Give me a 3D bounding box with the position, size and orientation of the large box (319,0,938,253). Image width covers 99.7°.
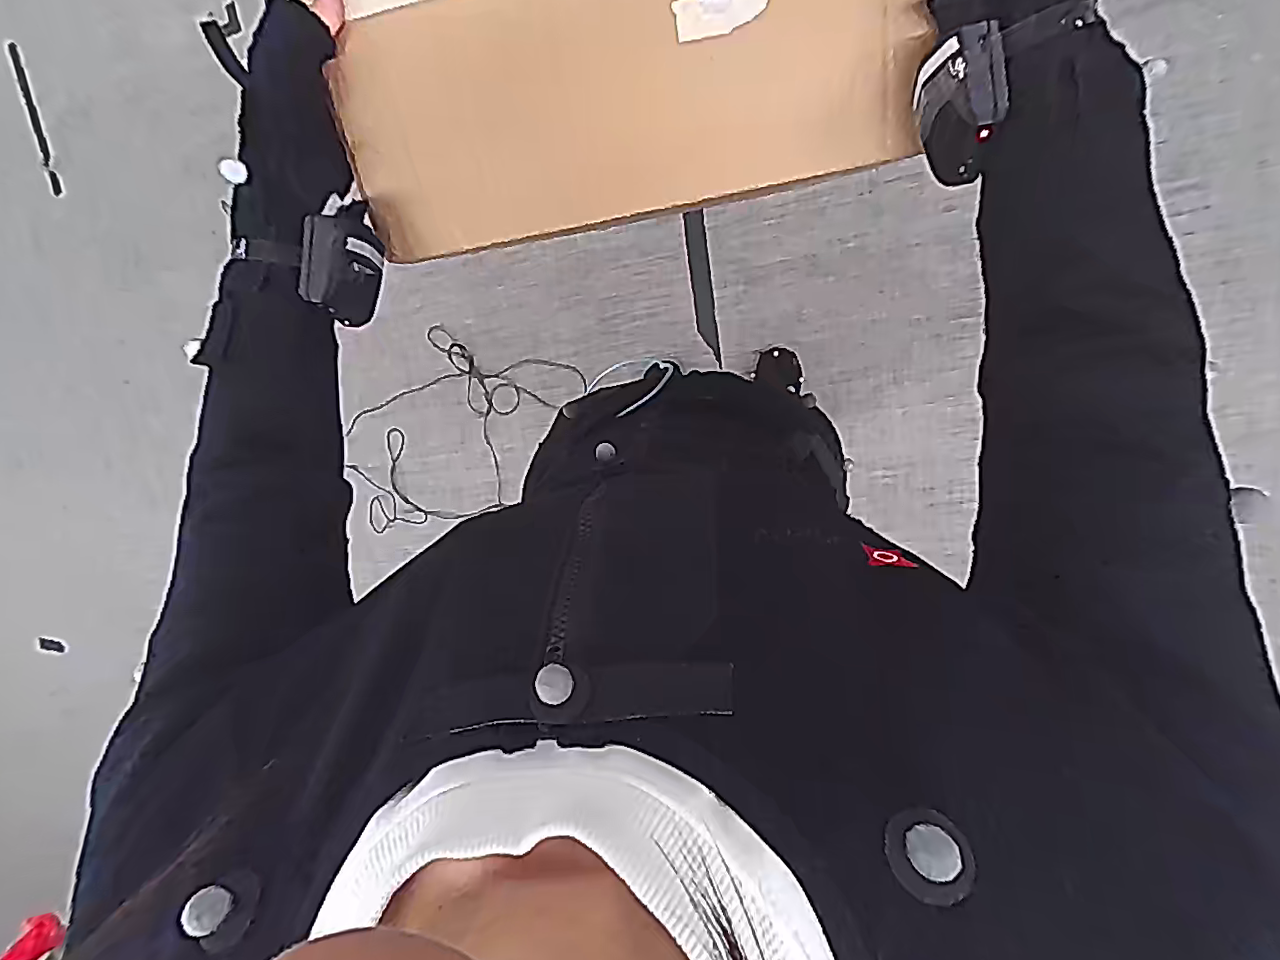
[{"bbox_3d":[-0.013,-0.407,0.470,0.408,0.320,0.320,-9,115,8],"label":"large box"}]
